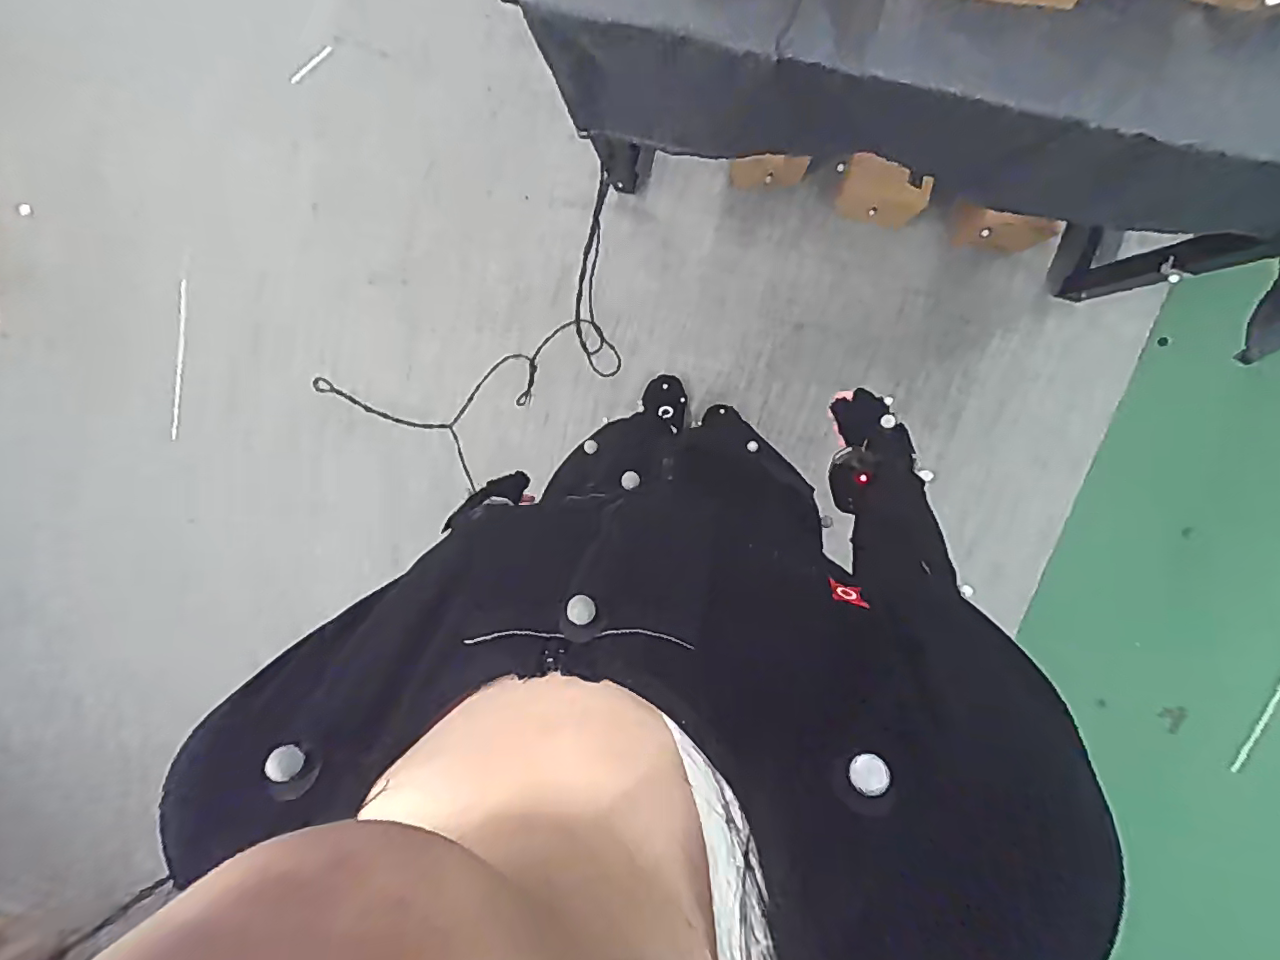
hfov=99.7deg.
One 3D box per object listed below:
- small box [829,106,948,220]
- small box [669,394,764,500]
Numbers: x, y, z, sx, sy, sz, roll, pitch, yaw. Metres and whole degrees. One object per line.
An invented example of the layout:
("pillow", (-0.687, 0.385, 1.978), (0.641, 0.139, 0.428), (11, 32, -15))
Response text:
("small box", (0.552, -0.706, 1.225), (0.179, 0.176, 0.168), (14, 102, 5))
("small box", (0.192, -0.081, 1.392), (0.179, 0.176, 0.168), (-36, 64, -11))
